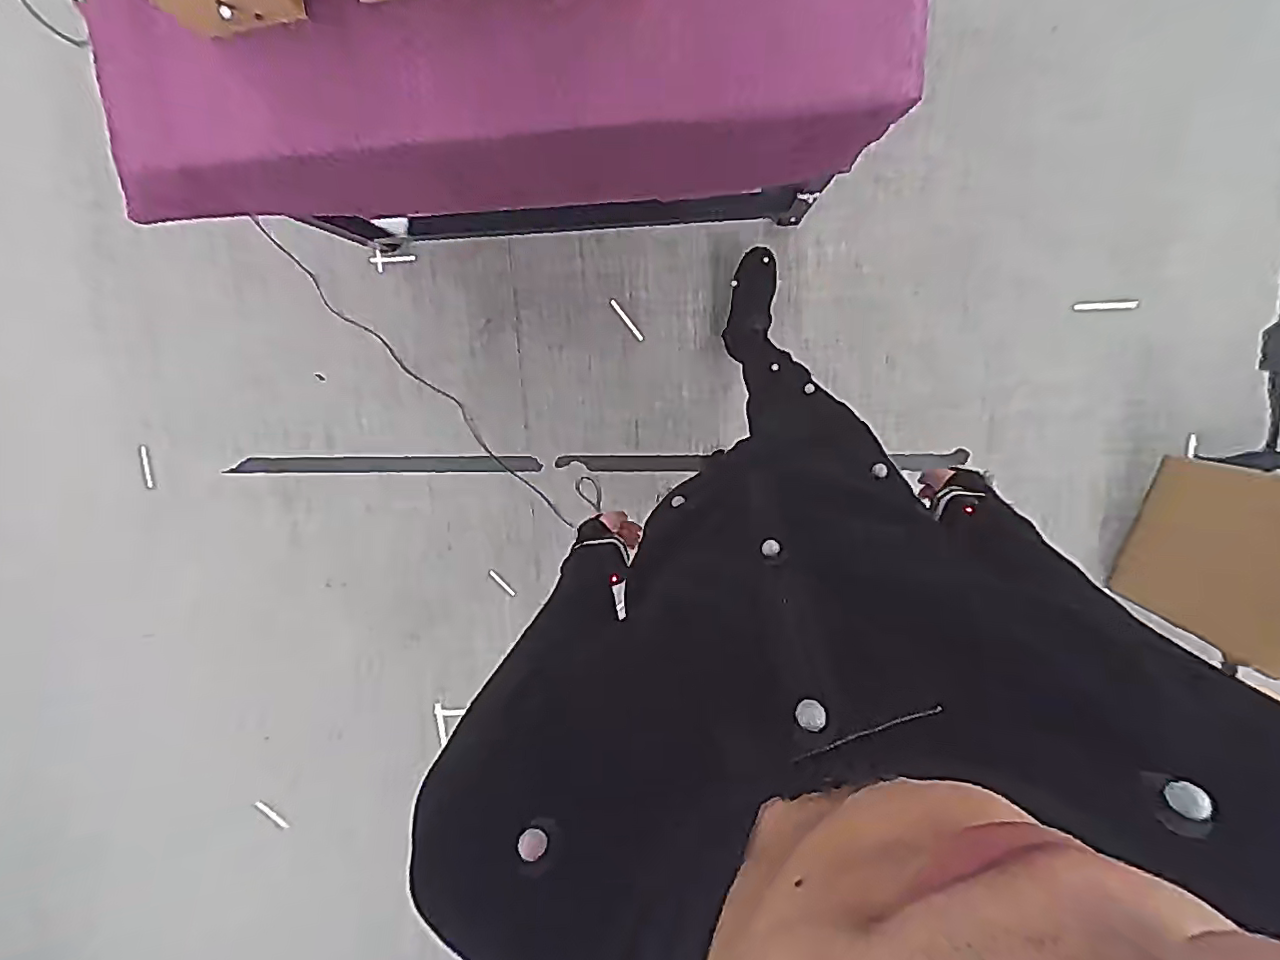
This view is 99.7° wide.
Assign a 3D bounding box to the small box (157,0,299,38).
[{"bbox_3d":[-0.584,-0.728,0.698,0.168,0.176,0.179,-5,101,6],"label":"small box"}]
